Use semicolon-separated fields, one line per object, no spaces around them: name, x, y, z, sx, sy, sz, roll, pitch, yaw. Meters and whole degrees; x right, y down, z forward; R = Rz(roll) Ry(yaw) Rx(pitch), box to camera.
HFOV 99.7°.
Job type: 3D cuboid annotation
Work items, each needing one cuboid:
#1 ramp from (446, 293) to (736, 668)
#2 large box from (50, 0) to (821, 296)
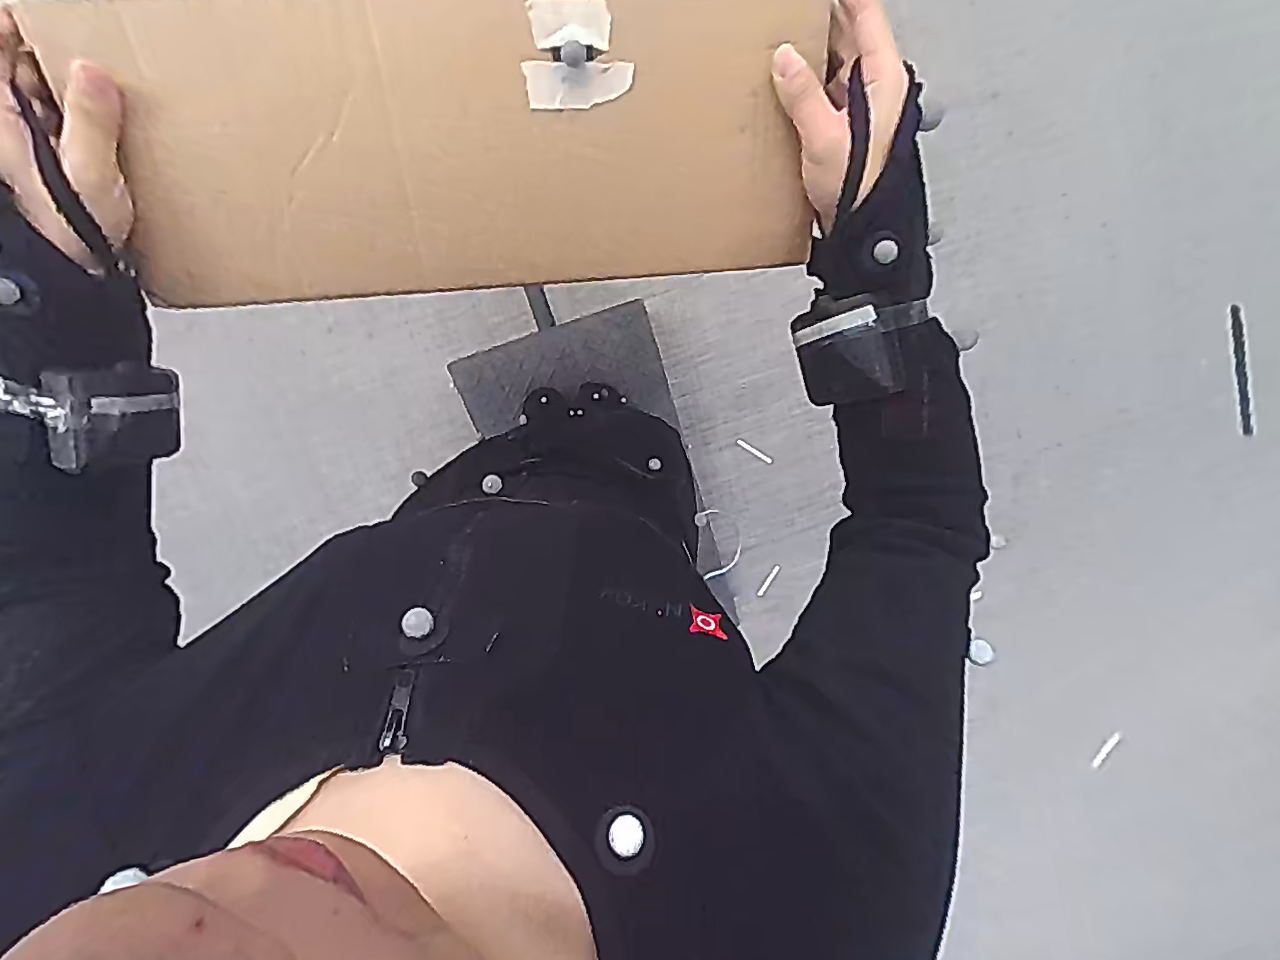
ramp;-0.079;0.069;1.455;0.509;0.206;0.991;-20;103;1
large box;-0.112;-0.334;0.409;0.408;0.320;0.320;-5;117;-3
